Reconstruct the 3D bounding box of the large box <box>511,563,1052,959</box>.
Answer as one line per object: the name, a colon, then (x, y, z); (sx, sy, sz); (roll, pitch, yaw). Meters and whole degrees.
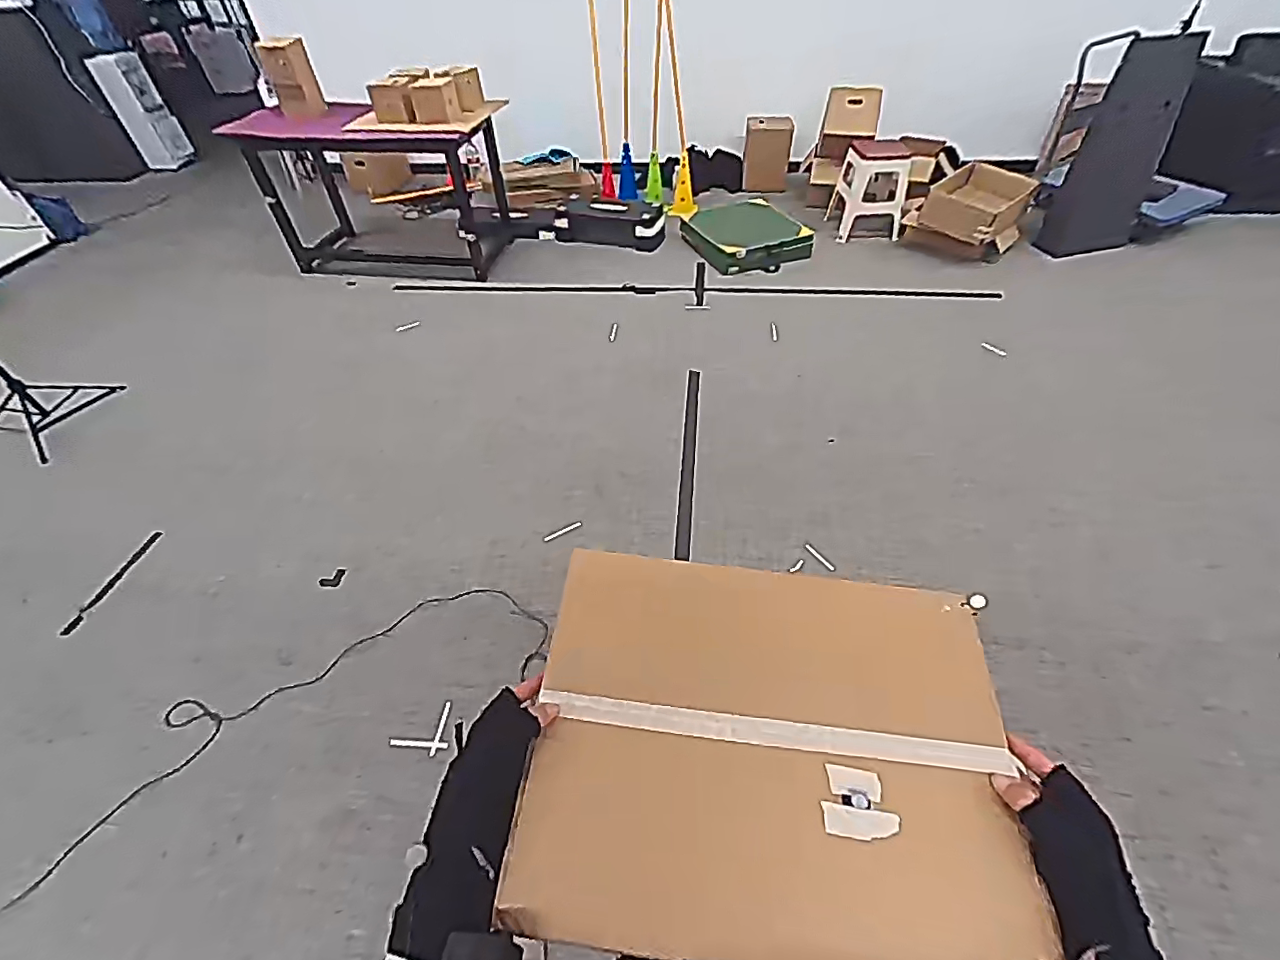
large box: (0.109, 0.317, 0.595); (0.408, 0.320, 0.320); (6, 53, 3)
